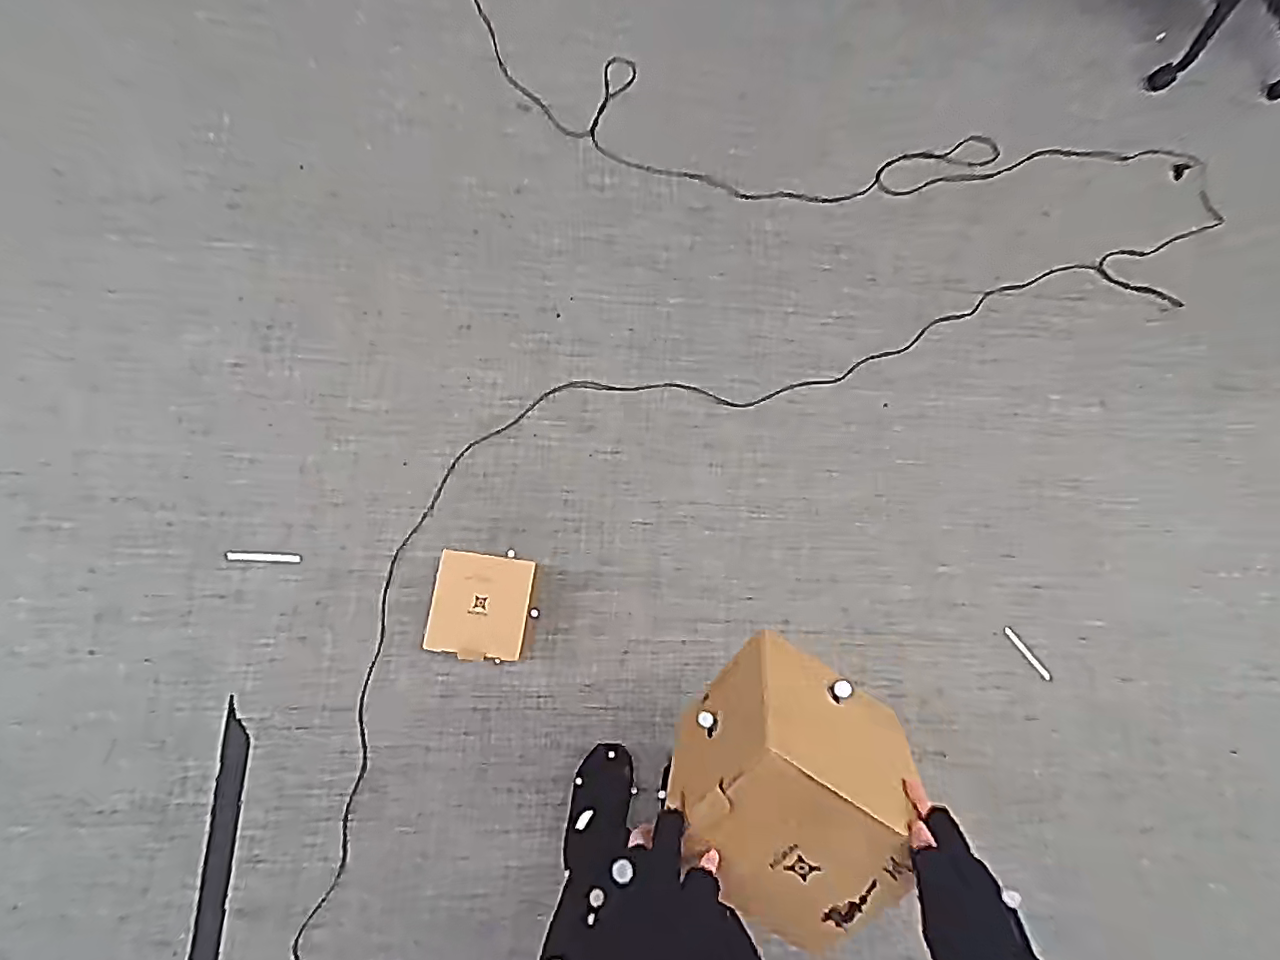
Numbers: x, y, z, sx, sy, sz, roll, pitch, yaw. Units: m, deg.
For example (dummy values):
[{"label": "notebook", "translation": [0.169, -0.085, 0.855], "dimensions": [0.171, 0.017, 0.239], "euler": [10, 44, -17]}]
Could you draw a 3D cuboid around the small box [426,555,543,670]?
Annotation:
[{"label": "small box", "translation": [-0.280, 0.242, 1.015], "dimensions": [0.168, 0.176, 0.179], "euler": [9, 79, -4]}]

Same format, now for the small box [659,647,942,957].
[{"label": "small box", "translation": [0.144, 0.296, 0.532], "dimensions": [0.179, 0.176, 0.168], "euler": [33, 112, 0]}]
